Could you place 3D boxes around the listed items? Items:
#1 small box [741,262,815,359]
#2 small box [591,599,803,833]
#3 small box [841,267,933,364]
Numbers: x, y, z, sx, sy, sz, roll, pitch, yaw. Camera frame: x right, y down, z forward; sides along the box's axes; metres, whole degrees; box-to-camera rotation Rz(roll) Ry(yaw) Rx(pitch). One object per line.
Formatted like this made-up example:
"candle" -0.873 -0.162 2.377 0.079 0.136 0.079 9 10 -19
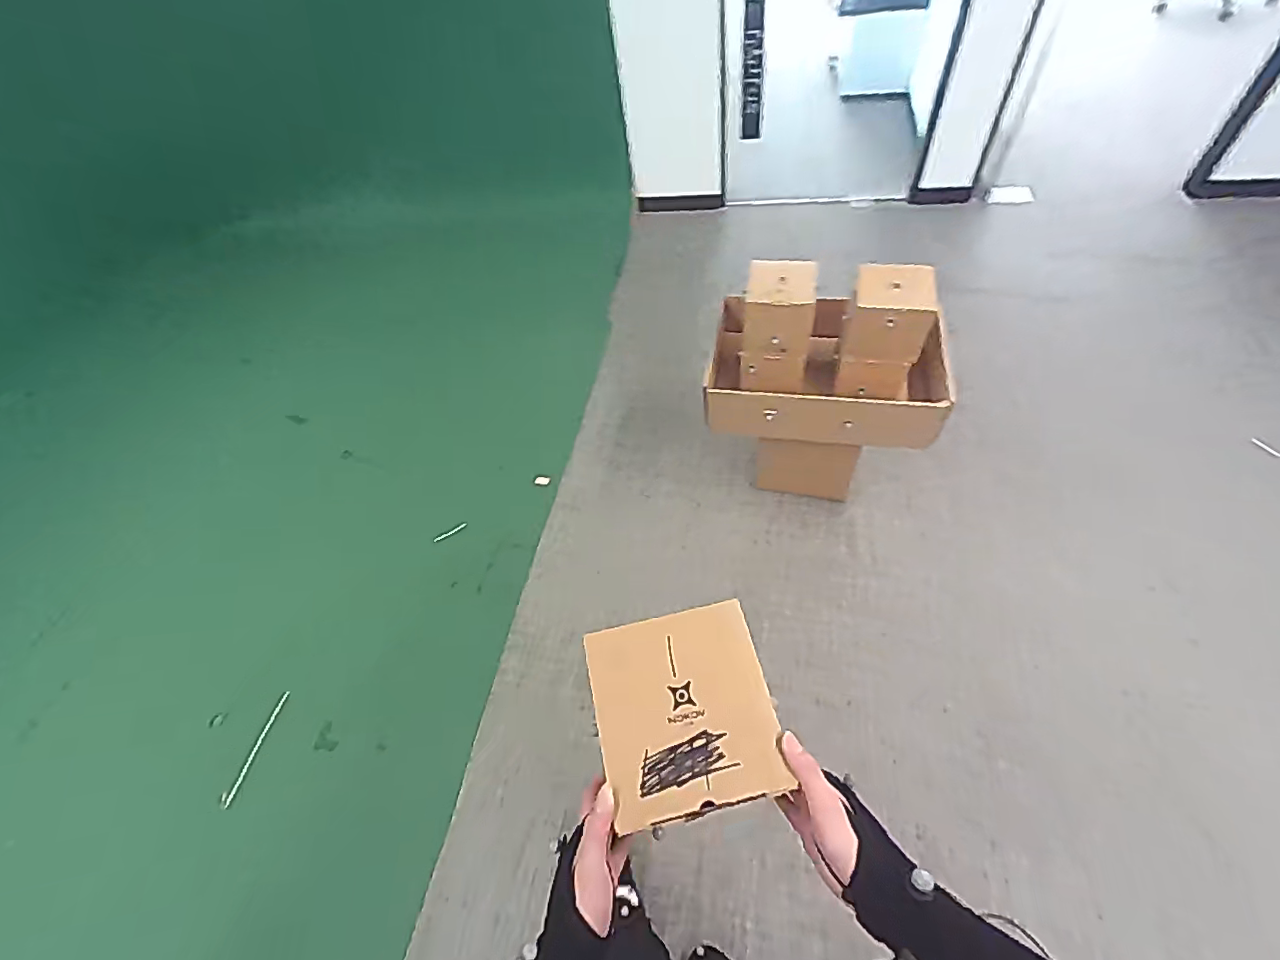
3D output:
"small box" 0.354 -0.440 1.404 0.168 0.176 0.179 6 56 12
"small box" 0.050 0.248 0.567 0.168 0.176 0.179 -11 59 -4
"small box" 0.609 -0.409 1.352 0.179 0.176 0.168 8 58 12
